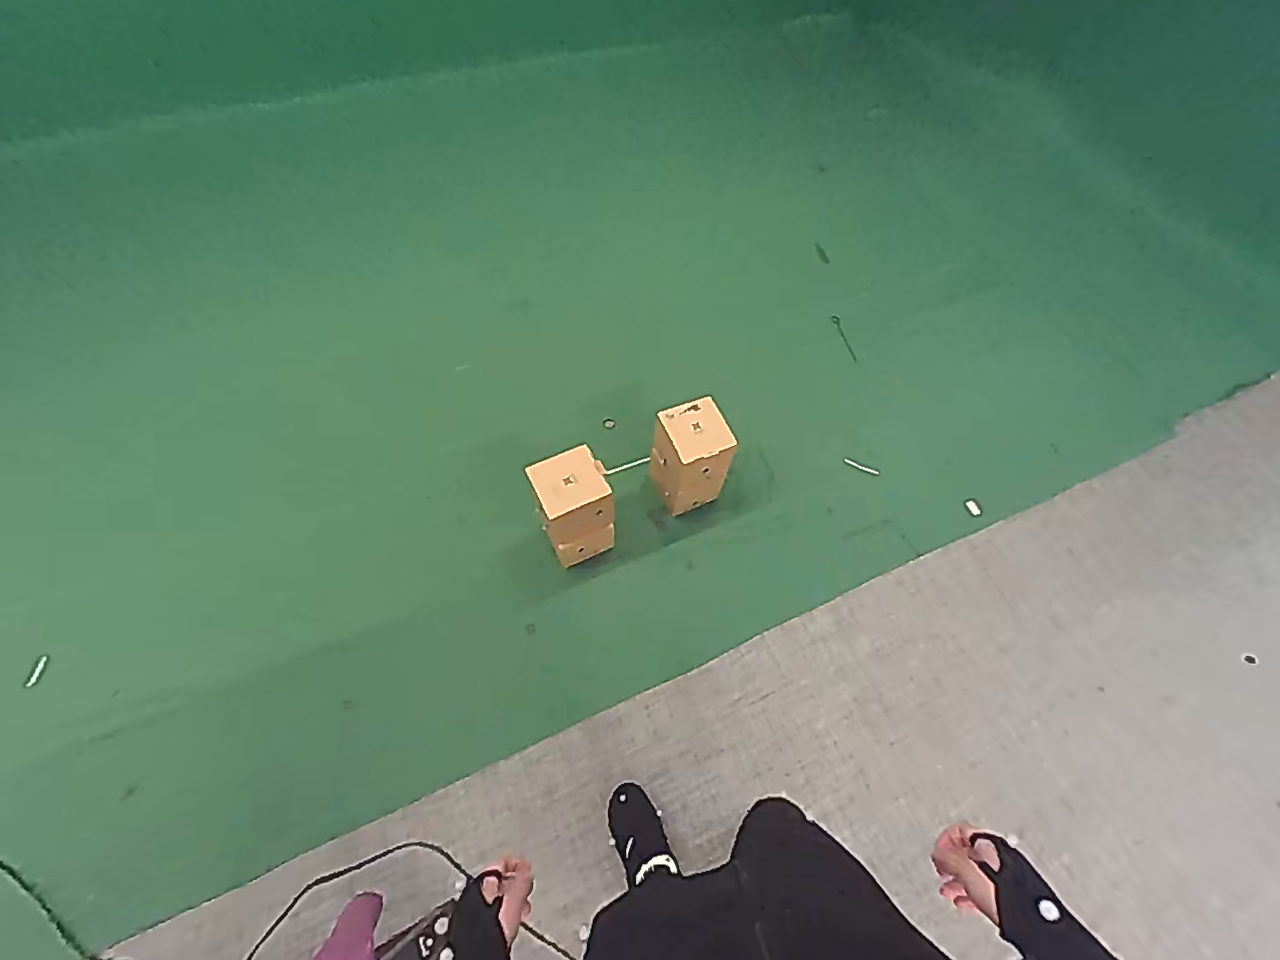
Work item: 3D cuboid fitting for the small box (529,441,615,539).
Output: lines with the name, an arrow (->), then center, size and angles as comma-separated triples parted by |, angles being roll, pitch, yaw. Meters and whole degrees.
small box -> -0.178, 0.030, 1.438 | 0.179, 0.176, 0.168 | -23, 65, -14

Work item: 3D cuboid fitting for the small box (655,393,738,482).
small box -> 0.153, -0.110, 1.526 | 0.168, 0.176, 0.179 | -19, 67, -13

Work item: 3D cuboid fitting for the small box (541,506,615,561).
small box -> -0.179, 0.118, 1.576 | 0.168, 0.176, 0.179 | -23, 65, -14
